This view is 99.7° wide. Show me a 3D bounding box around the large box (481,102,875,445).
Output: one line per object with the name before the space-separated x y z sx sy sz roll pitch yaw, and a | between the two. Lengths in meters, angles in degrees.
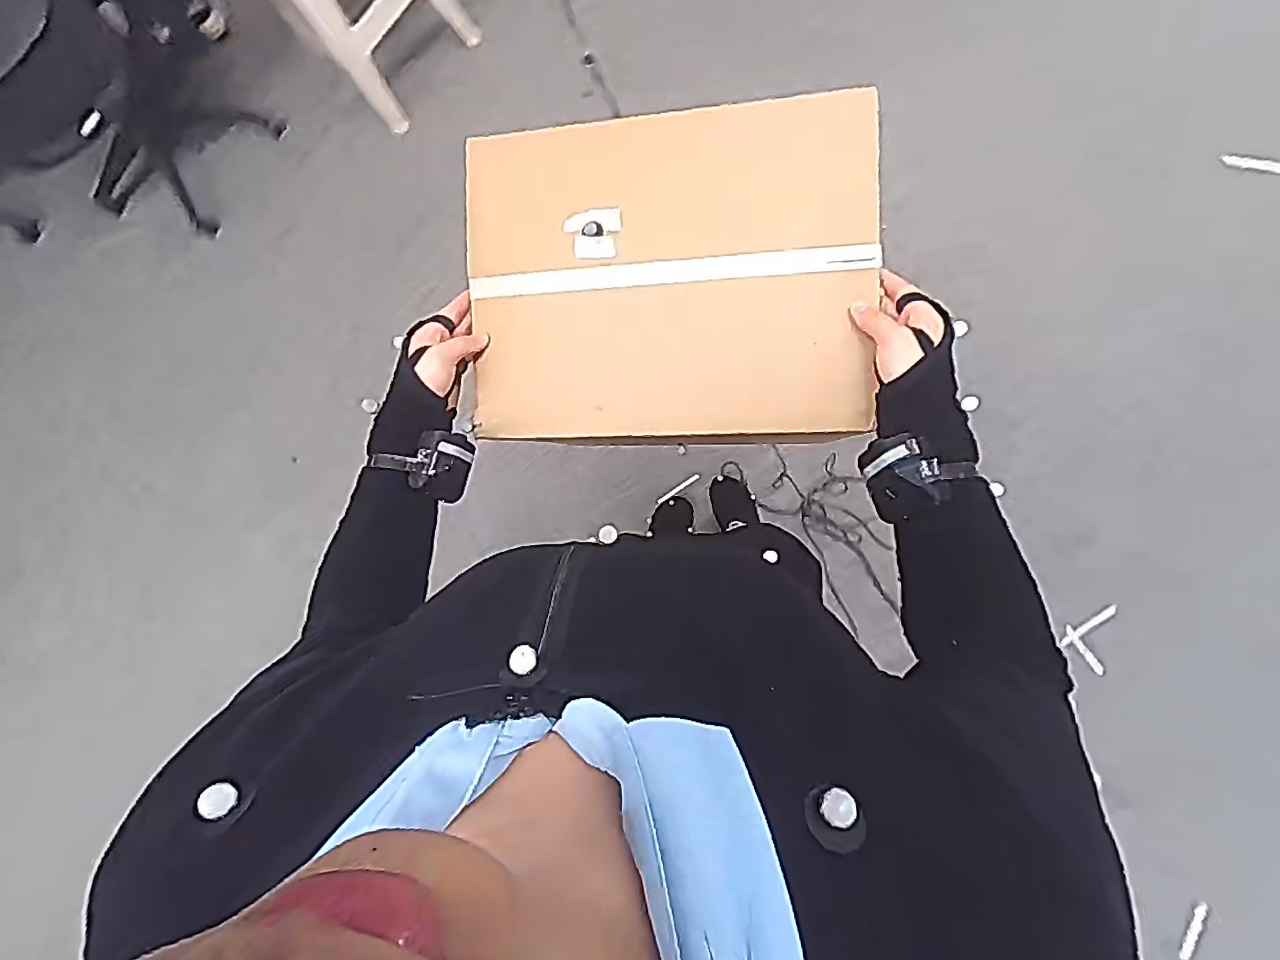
large box | 0.056 -0.205 0.692 0.408 0.320 0.320 0 91 11
